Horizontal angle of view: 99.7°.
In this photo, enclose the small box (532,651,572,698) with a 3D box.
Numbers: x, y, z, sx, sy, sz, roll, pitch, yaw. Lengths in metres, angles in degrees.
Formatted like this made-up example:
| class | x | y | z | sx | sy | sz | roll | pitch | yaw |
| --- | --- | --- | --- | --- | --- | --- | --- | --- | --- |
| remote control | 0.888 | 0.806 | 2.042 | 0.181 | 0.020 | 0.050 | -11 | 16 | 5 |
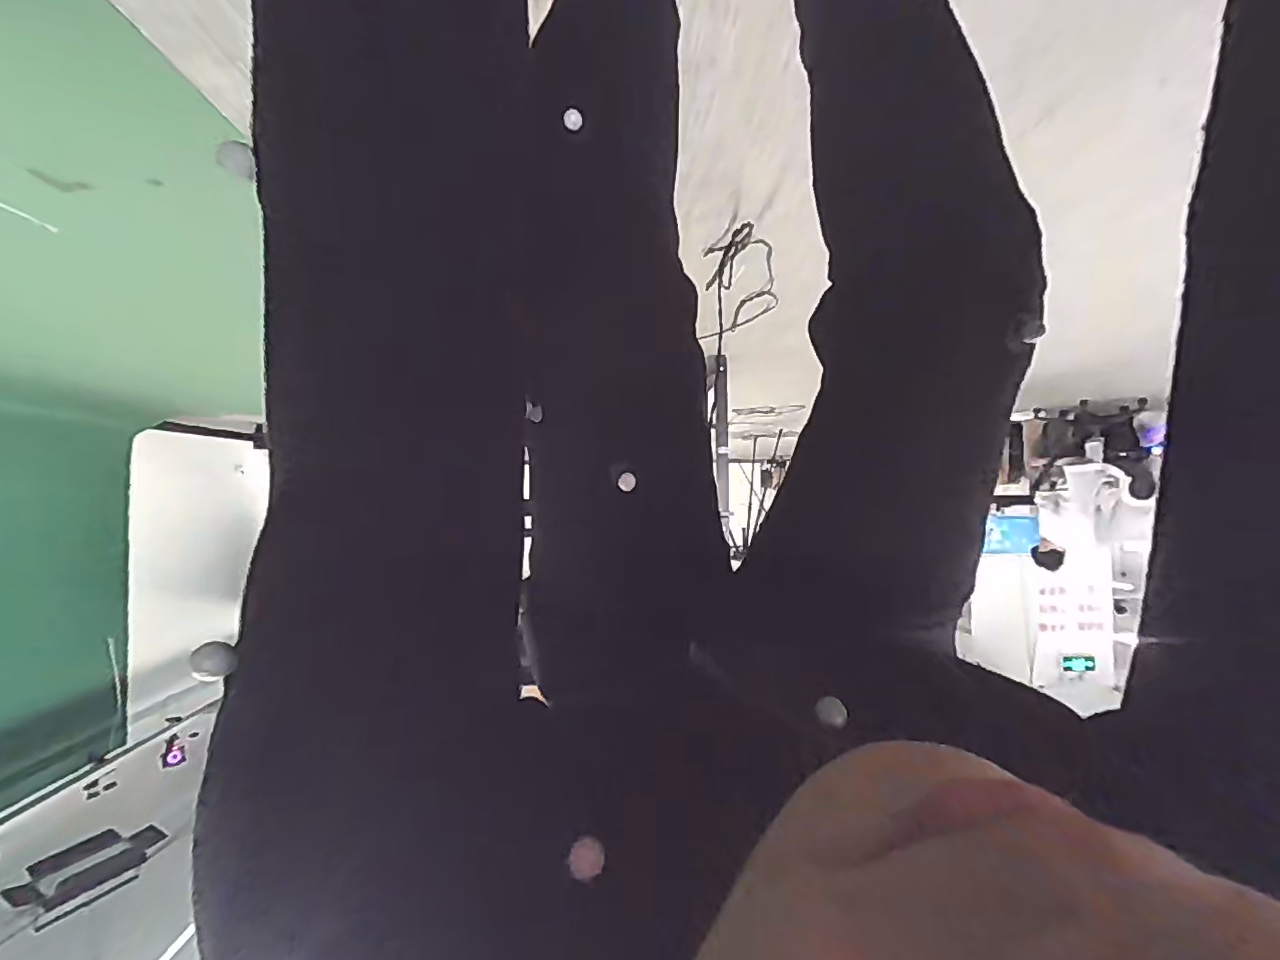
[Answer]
| class | x | y | z | sx | sy | sz | roll | pitch | yaw |
| --- | --- | --- | --- | --- | --- | --- | --- | --- | --- |
| small box | -0.417 | 0.920 | 2.569 | 0.179 | 0.176 | 0.168 | -1 | -179 | -3 |
